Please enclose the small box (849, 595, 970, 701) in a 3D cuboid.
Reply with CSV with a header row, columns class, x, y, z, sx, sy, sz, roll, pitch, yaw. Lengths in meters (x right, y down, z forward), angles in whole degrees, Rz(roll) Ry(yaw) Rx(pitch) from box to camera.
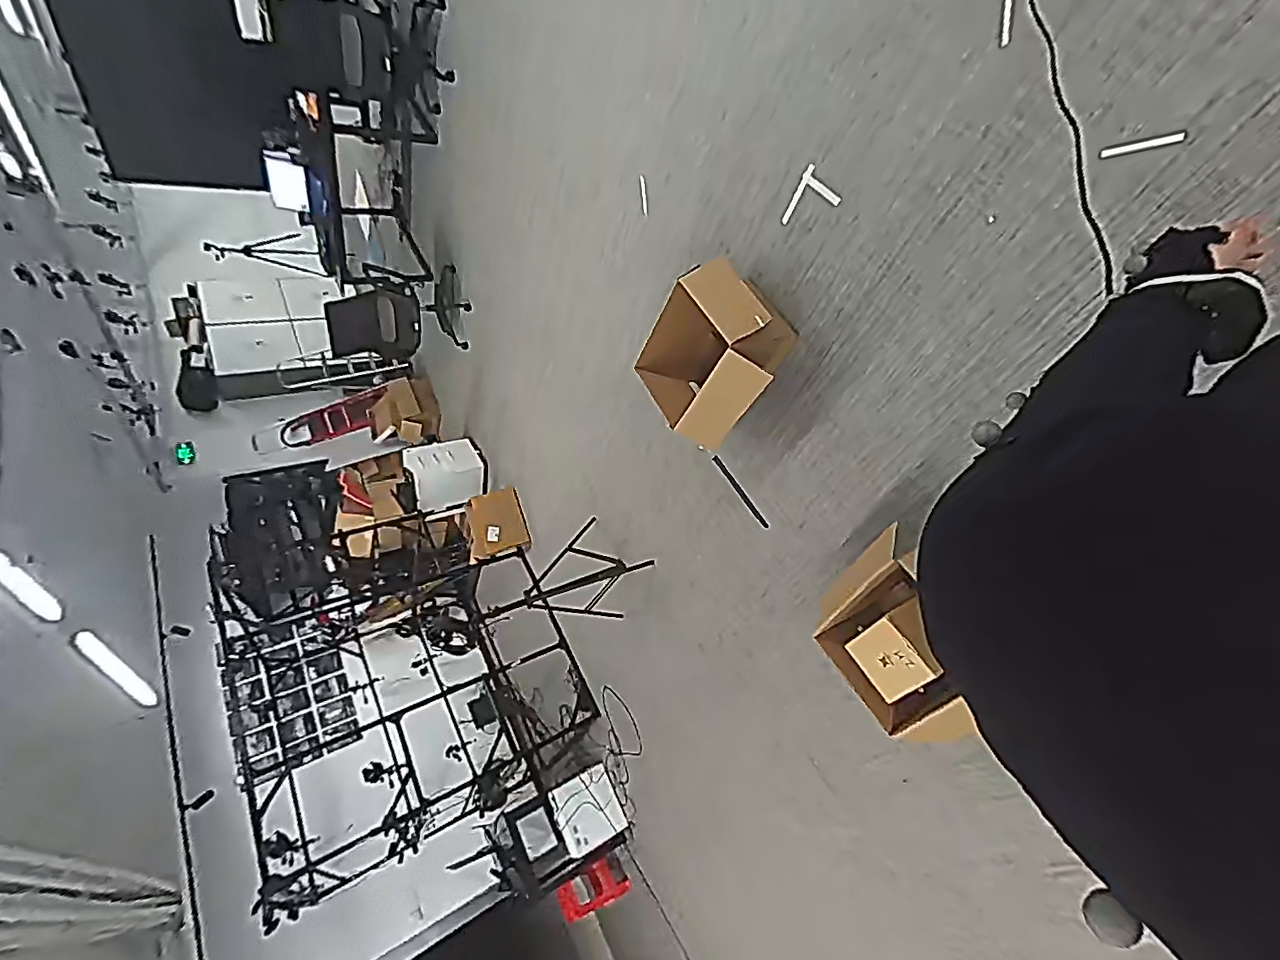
class,x,y,z,sx,sy,sz,roll,pitch,yaw
small box,0.670,0.415,1.344,0.168,0.176,0.179,56,143,27
